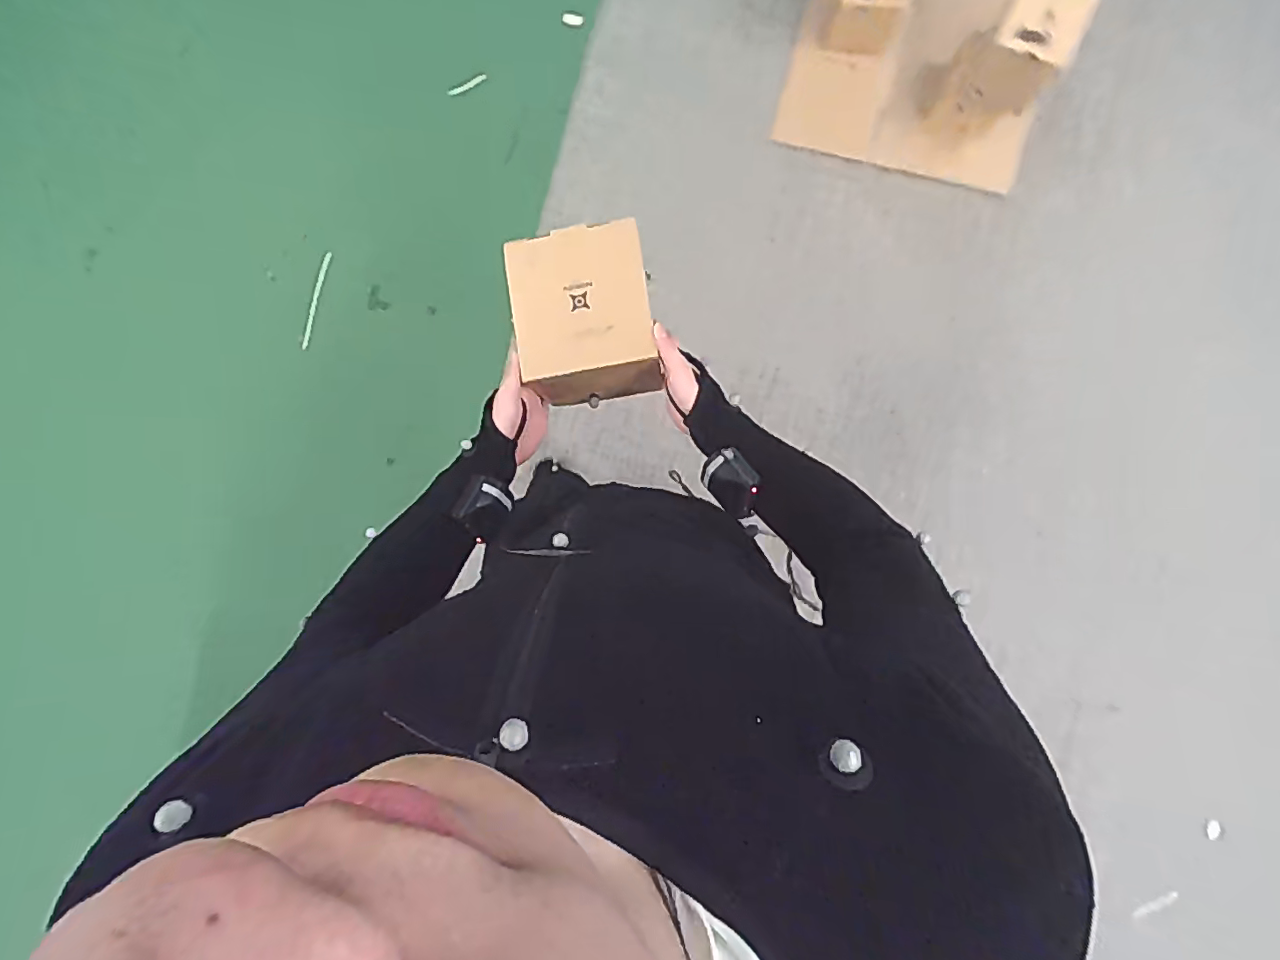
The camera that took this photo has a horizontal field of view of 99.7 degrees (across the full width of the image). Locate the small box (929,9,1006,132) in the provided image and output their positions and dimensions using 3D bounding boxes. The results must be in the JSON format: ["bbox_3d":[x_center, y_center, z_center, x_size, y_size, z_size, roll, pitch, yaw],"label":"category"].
[{"bbox_3d":[0.891,-1.062,1.418,0.168,0.176,0.179,21,92,5],"label":"small box"}]

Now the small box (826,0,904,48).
[{"bbox_3d":[0.608,-1.311,1.443,0.168,0.176,0.179,9,91,5],"label":"small box"}]

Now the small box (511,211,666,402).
[{"bbox_3d":[-0.058,-0.213,0.709,0.168,0.176,0.179,-8,86,4],"label":"small box"}]

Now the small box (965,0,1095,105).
[{"bbox_3d":[0.895,-1.025,1.252,0.168,0.176,0.179,25,92,4],"label":"small box"}]
